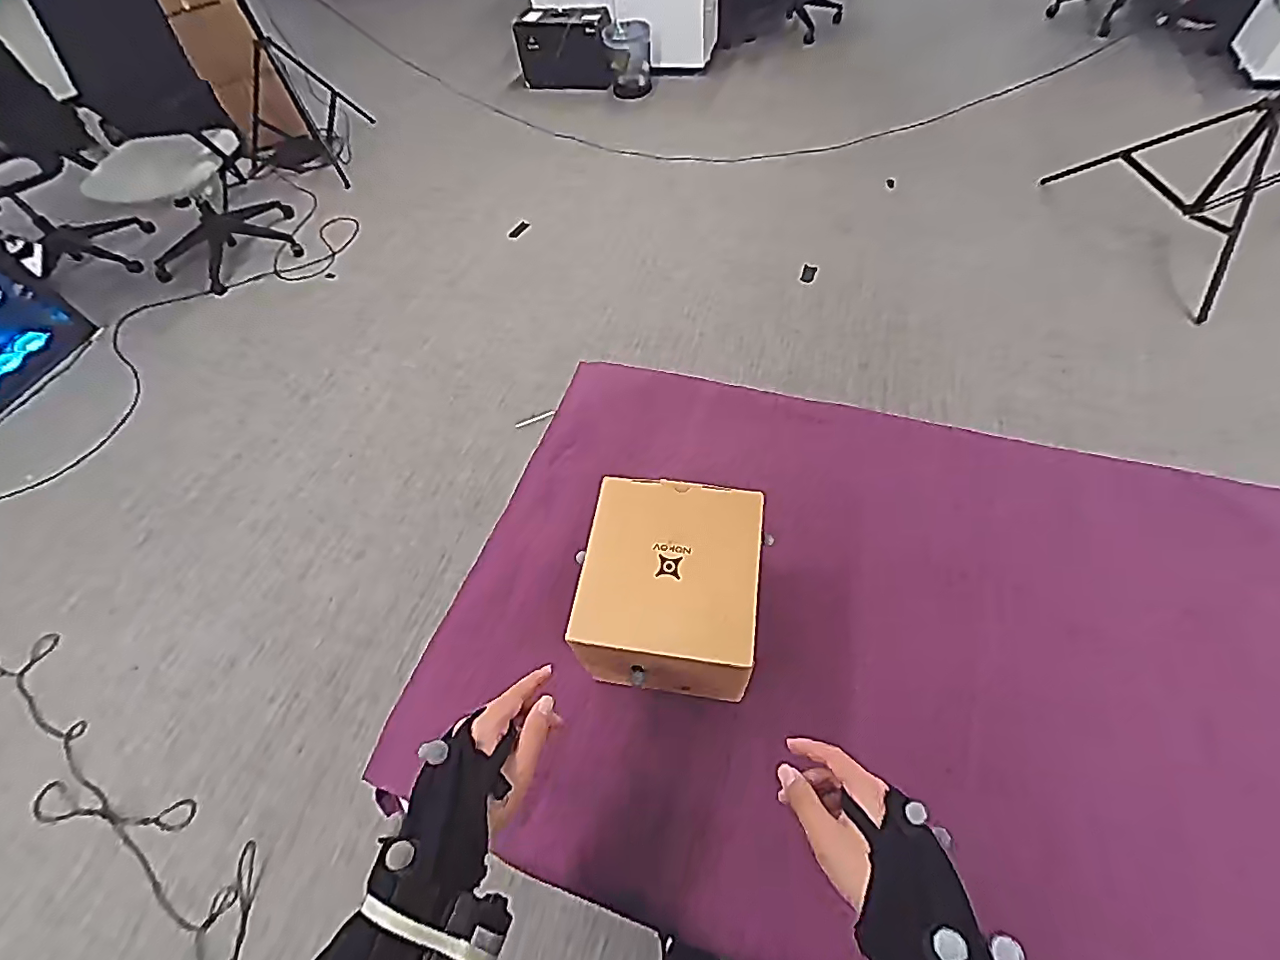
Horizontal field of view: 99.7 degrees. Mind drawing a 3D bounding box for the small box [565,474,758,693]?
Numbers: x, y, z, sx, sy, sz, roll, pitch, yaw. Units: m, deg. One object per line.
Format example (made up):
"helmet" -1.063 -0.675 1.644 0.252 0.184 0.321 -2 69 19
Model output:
"small box" 0.034 0.116 0.578 0.168 0.176 0.179 5 58 9
